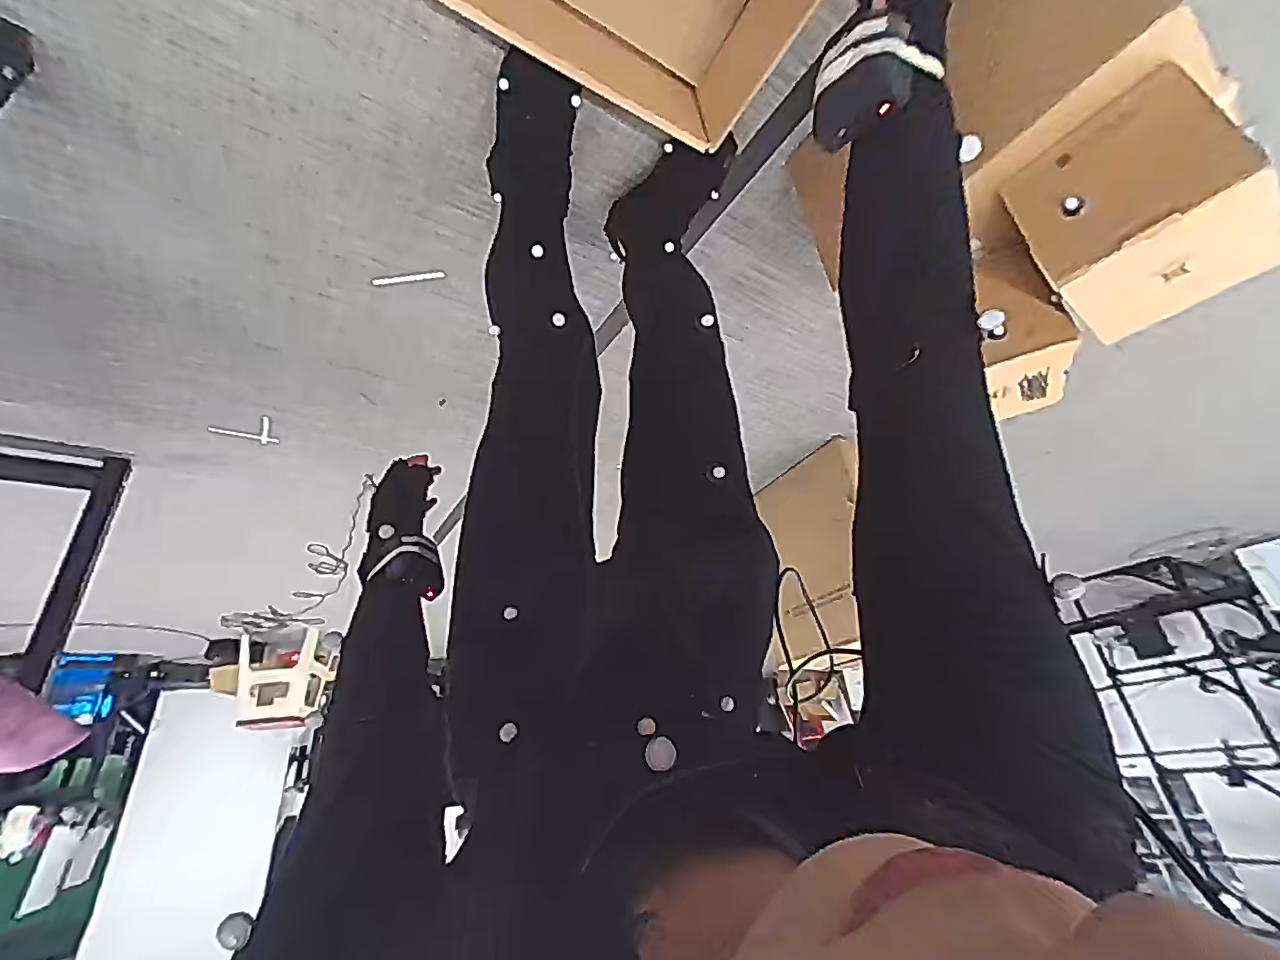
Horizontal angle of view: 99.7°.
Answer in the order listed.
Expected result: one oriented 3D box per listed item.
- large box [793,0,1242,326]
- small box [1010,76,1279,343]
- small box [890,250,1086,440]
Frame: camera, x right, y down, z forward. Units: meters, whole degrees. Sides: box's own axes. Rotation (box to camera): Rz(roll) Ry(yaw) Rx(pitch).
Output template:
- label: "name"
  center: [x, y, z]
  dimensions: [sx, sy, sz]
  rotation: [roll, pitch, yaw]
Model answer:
- label: "large box"
  center: [0.497, -0.459, 0.779]
  dimensions: [0.320, 0.320, 0.408]
  rotation: [13, 148, -31]
- label: "small box"
  center: [0.548, -0.288, 0.590]
  dimensions: [0.179, 0.176, 0.168]
  rotation: [14, 148, -34]
- label: "small box"
  center: [0.476, -0.186, 0.766]
  dimensions: [0.179, 0.176, 0.168]
  rotation: [-18, 150, 22]
